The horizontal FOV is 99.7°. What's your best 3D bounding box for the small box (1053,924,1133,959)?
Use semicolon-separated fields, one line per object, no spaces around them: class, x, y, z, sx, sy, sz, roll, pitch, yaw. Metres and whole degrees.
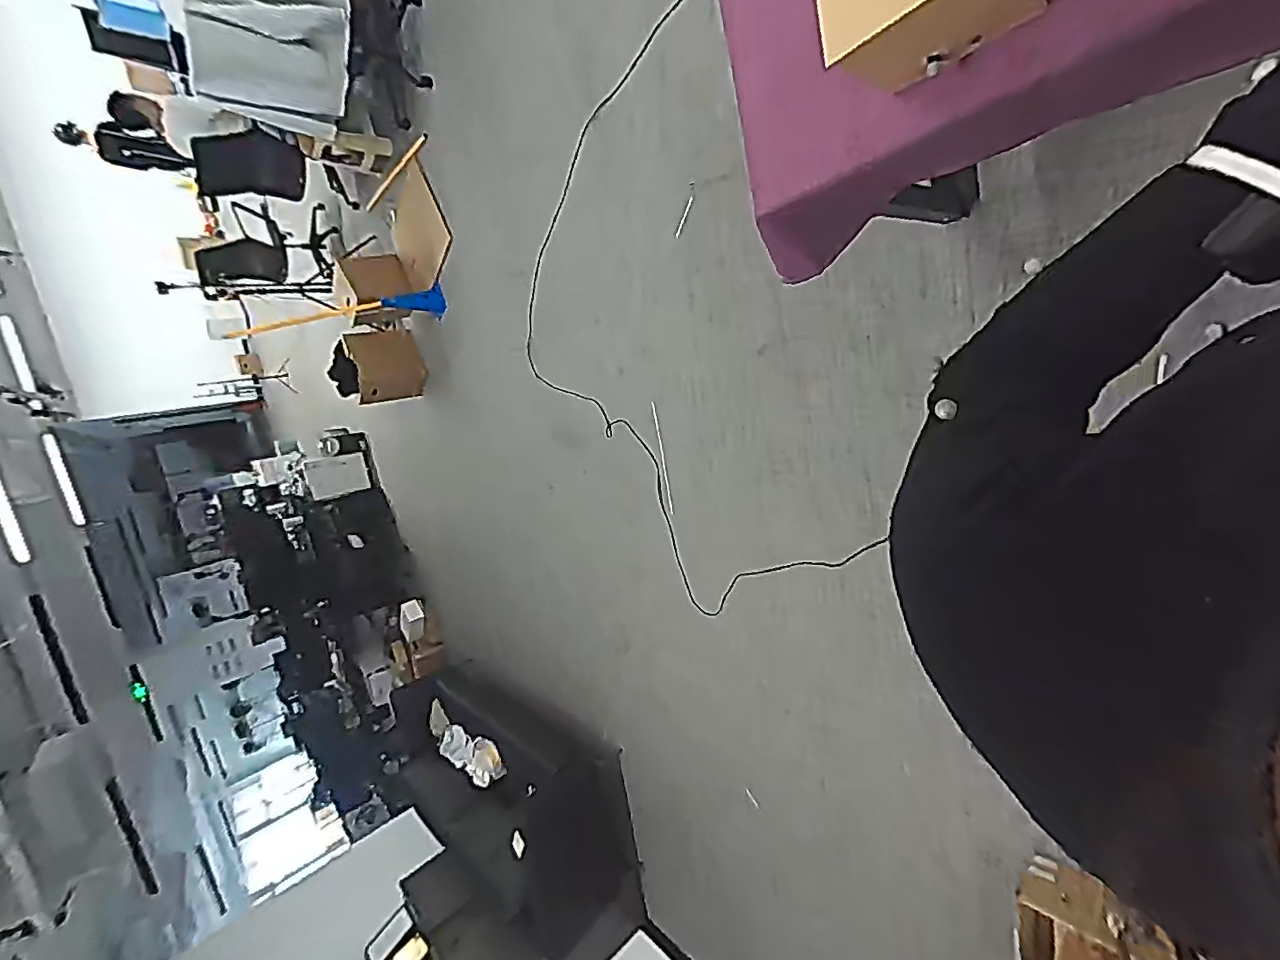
small box;1.164;1.302;1.378;0.168;0.176;0.179;3;106;49

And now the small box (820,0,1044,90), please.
small box;0.305;-0.559;0.573;0.168;0.176;0.179;0;105;50
